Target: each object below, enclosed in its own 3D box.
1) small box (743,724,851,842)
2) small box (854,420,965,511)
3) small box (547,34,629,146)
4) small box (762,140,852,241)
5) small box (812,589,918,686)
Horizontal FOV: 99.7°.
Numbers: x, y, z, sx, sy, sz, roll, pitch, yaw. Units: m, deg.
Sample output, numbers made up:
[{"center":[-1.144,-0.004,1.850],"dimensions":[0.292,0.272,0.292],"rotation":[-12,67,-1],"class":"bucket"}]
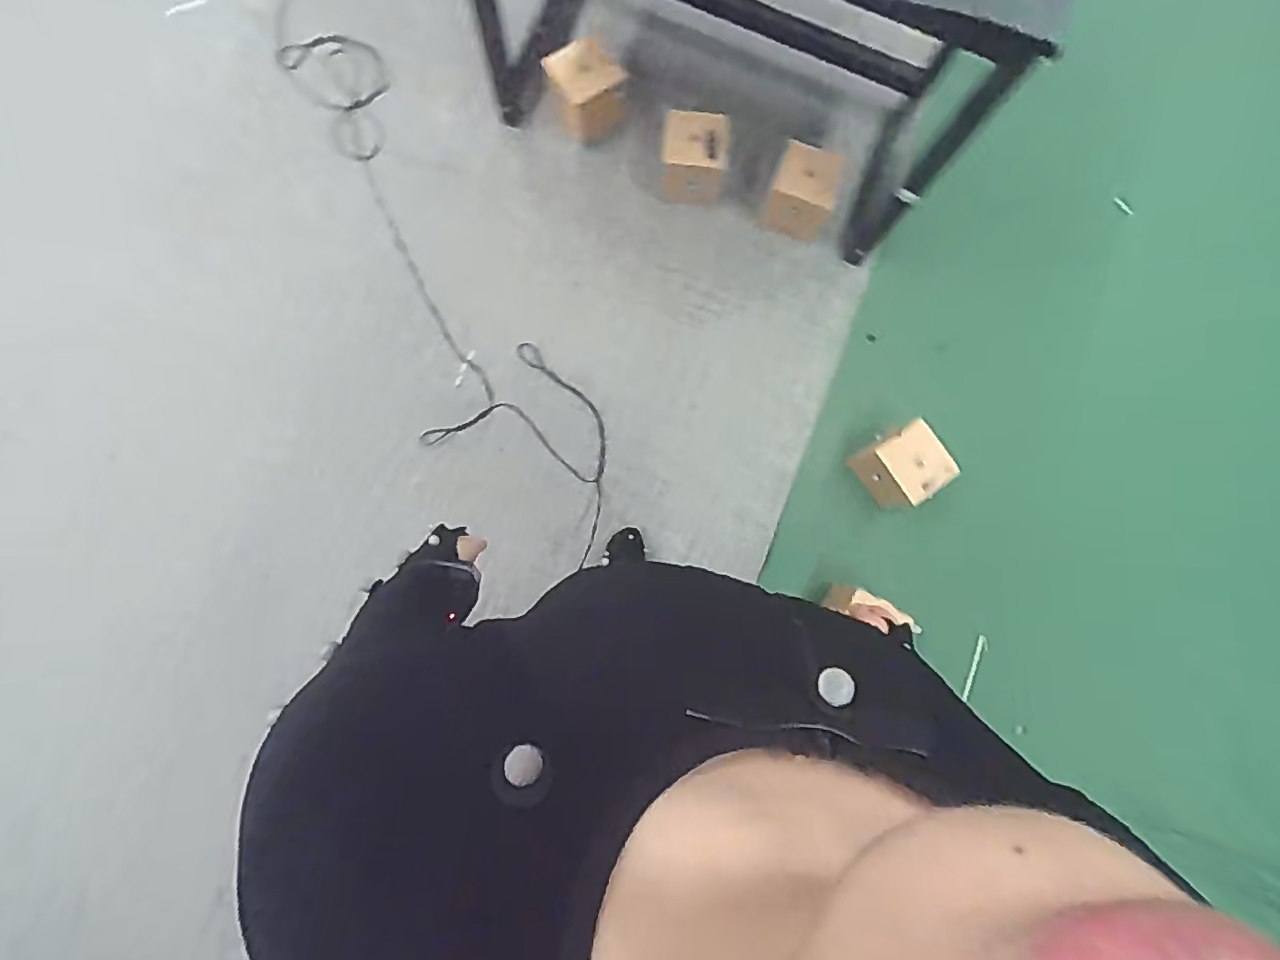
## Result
[{"center":[0.383,0.745,1.351],"dimensions":[0.179,0.176,0.168],"rotation":[-26,85,-5],"class":"small box"},{"center":[0.722,-0.032,1.473],"dimensions":[0.168,0.176,0.179],"rotation":[-33,85,-7],"class":"small box"},{"center":[-0.146,-1.120,1.569],"dimensions":[0.179,0.176,0.168],"rotation":[-35,85,-7],"class":"small box"},{"center":[0.473,-0.826,1.561],"dimensions":[0.179,0.176,0.168],"rotation":[21,83,-1],"class":"small box"},{"center":[0.575,0.399,1.408],"dimensions":[0.168,0.176,0.179],"rotation":[31,83,2],"class":"small box"}]
